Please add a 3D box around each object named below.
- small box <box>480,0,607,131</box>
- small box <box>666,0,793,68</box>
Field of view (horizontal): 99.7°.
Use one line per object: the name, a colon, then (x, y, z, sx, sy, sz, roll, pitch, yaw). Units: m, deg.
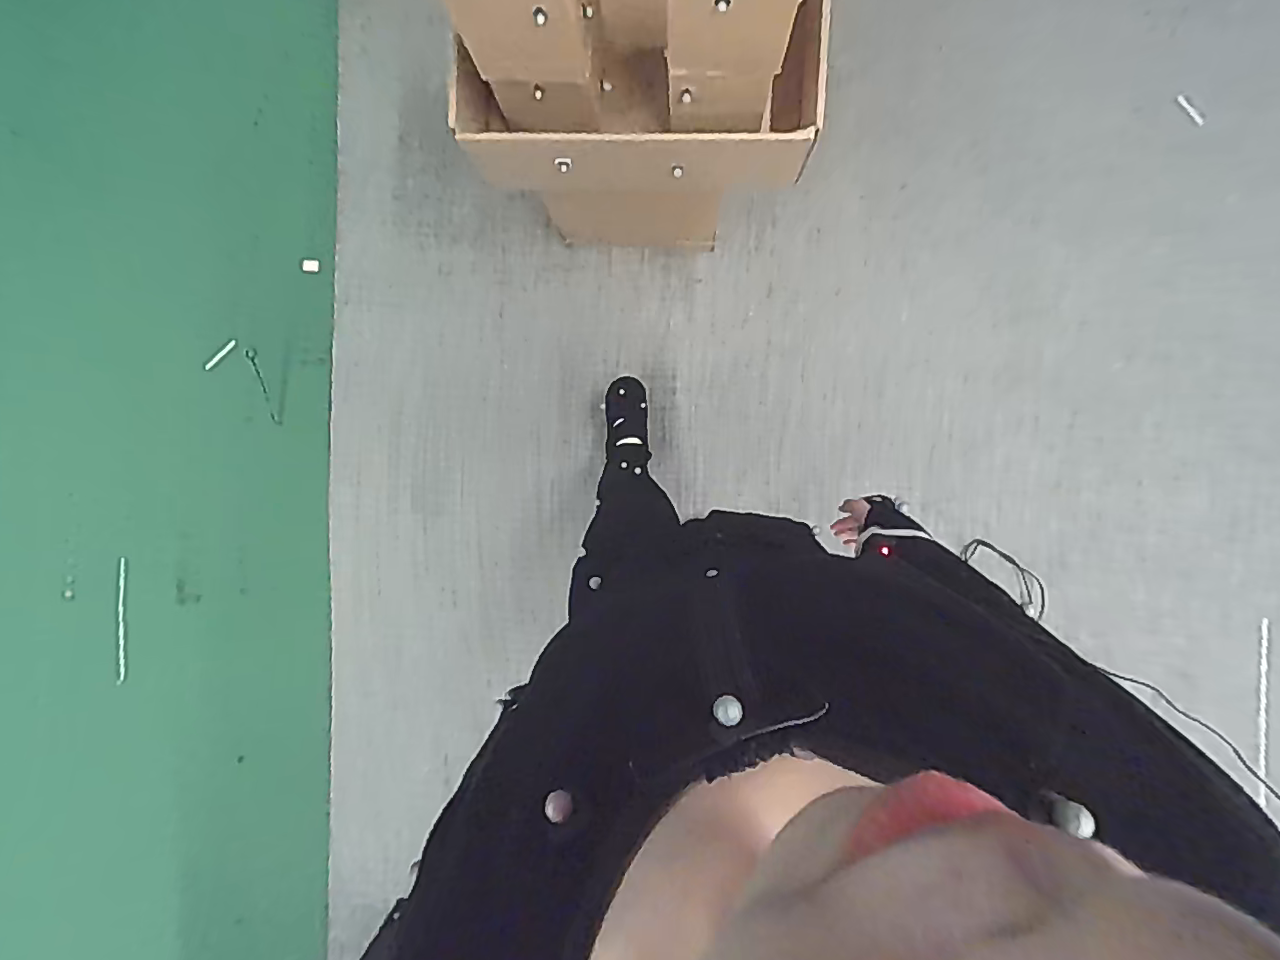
small box: (-0.158, -0.737, 0.936, 0.179, 0.176, 0.168, 4, 92, 3)
small box: (0.129, -0.716, 0.750, 0.179, 0.176, 0.168, 6, 91, 3)
